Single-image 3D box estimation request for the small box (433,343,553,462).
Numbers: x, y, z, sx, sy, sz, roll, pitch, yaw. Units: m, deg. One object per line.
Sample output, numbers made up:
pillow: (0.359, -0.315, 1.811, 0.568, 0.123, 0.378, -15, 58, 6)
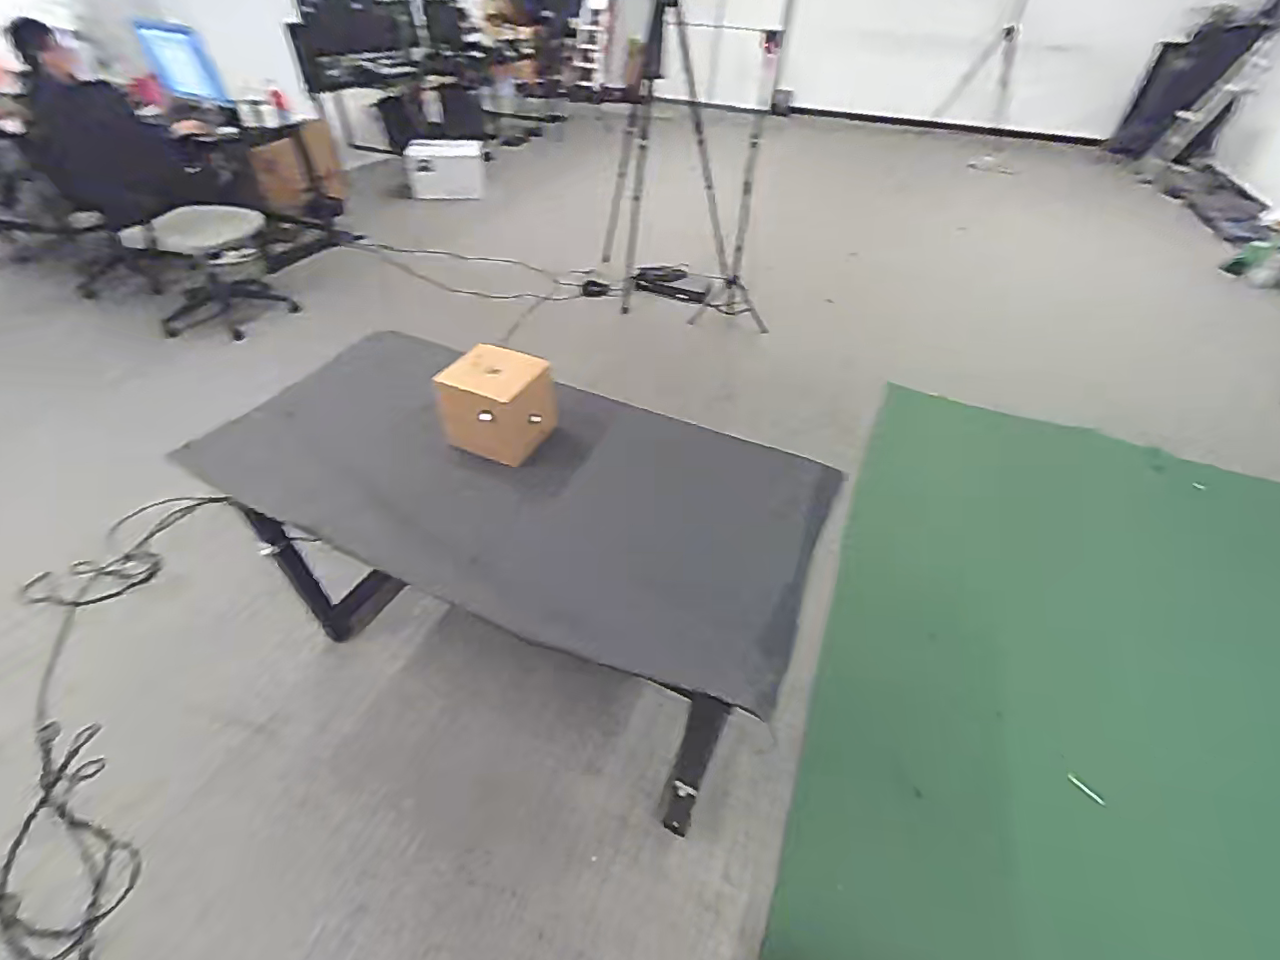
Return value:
small box: (-0.298, -0.161, 1.145, 0.179, 0.176, 0.168, 18, 45, 16)
